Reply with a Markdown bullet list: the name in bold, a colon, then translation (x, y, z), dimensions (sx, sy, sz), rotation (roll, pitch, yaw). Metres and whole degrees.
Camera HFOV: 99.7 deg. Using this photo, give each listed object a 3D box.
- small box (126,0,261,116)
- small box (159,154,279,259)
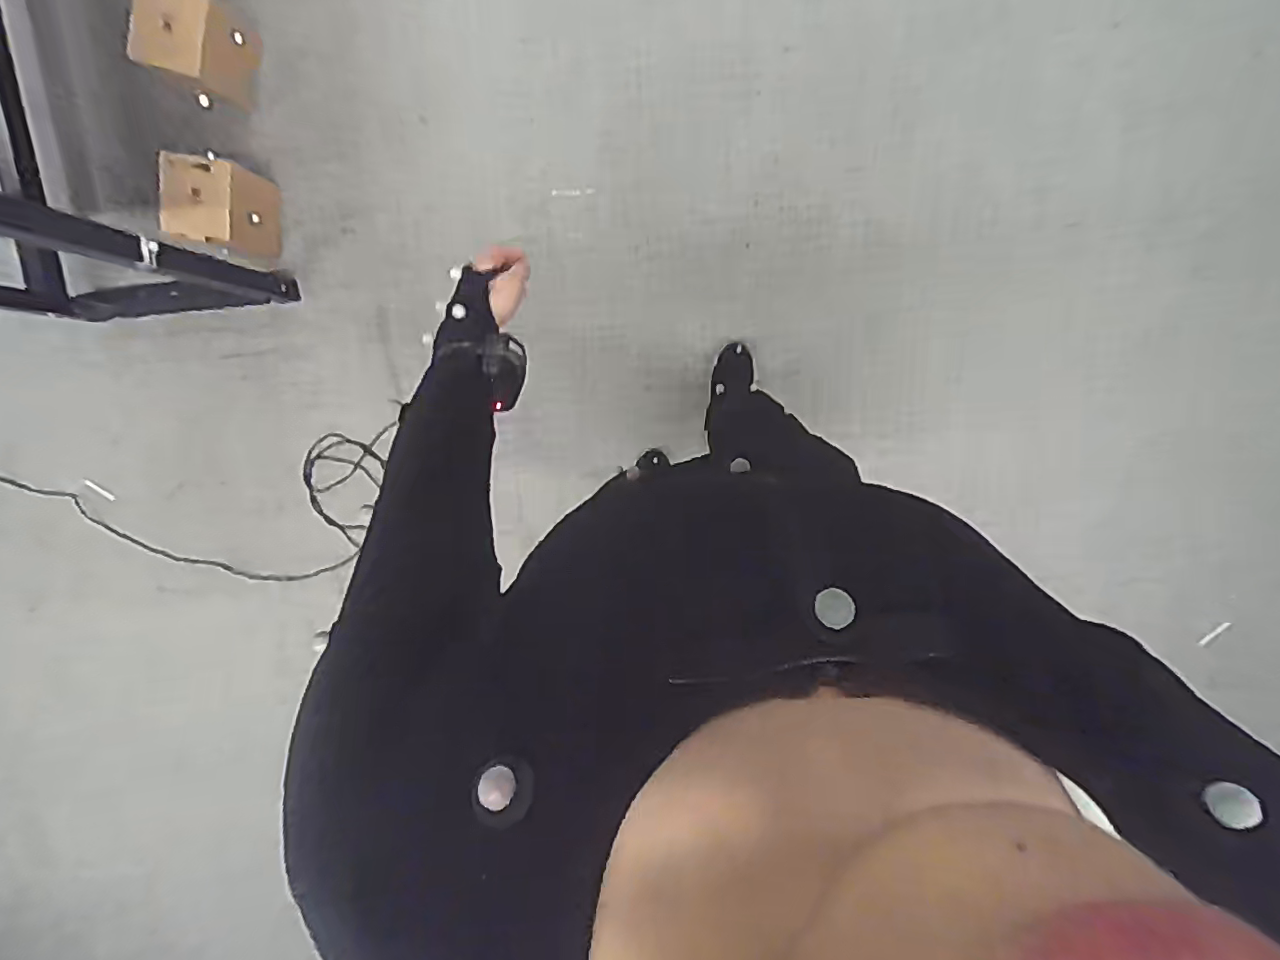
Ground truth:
- **small box**: translation (-1.015, -0.989, 1.244), dimensions (0.168, 0.176, 0.179), rotation (16, 101, -1)
- **small box**: translation (-1.003, -0.647, 1.300), dimensions (0.168, 0.176, 0.179), rotation (8, 100, -1)
